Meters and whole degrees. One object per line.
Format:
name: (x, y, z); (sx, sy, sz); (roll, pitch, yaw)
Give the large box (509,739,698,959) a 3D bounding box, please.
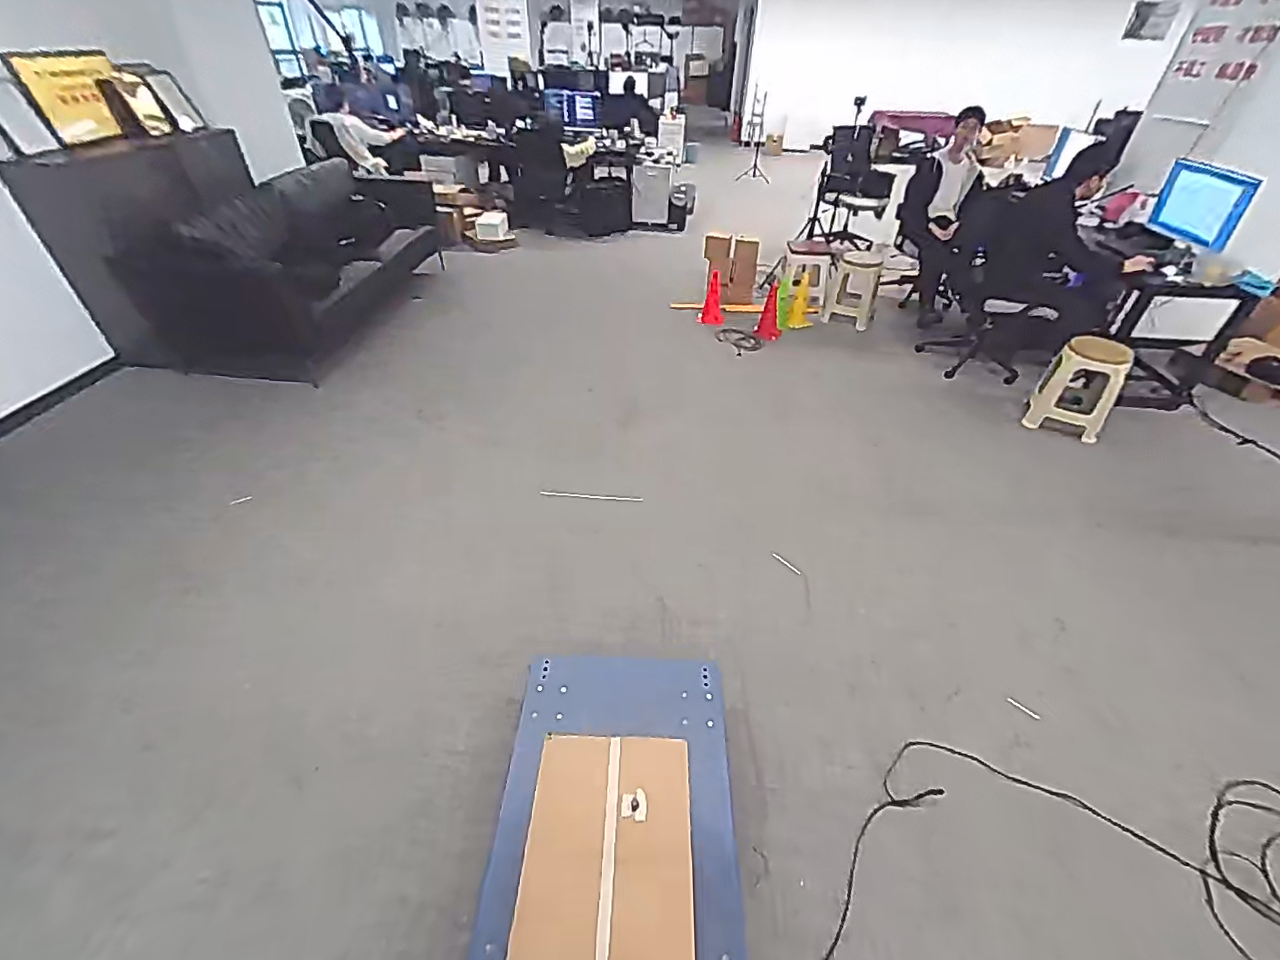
large box: (-0.058, 0.804, 1.105); (0.320, 0.320, 0.408); (2, 39, 1)
